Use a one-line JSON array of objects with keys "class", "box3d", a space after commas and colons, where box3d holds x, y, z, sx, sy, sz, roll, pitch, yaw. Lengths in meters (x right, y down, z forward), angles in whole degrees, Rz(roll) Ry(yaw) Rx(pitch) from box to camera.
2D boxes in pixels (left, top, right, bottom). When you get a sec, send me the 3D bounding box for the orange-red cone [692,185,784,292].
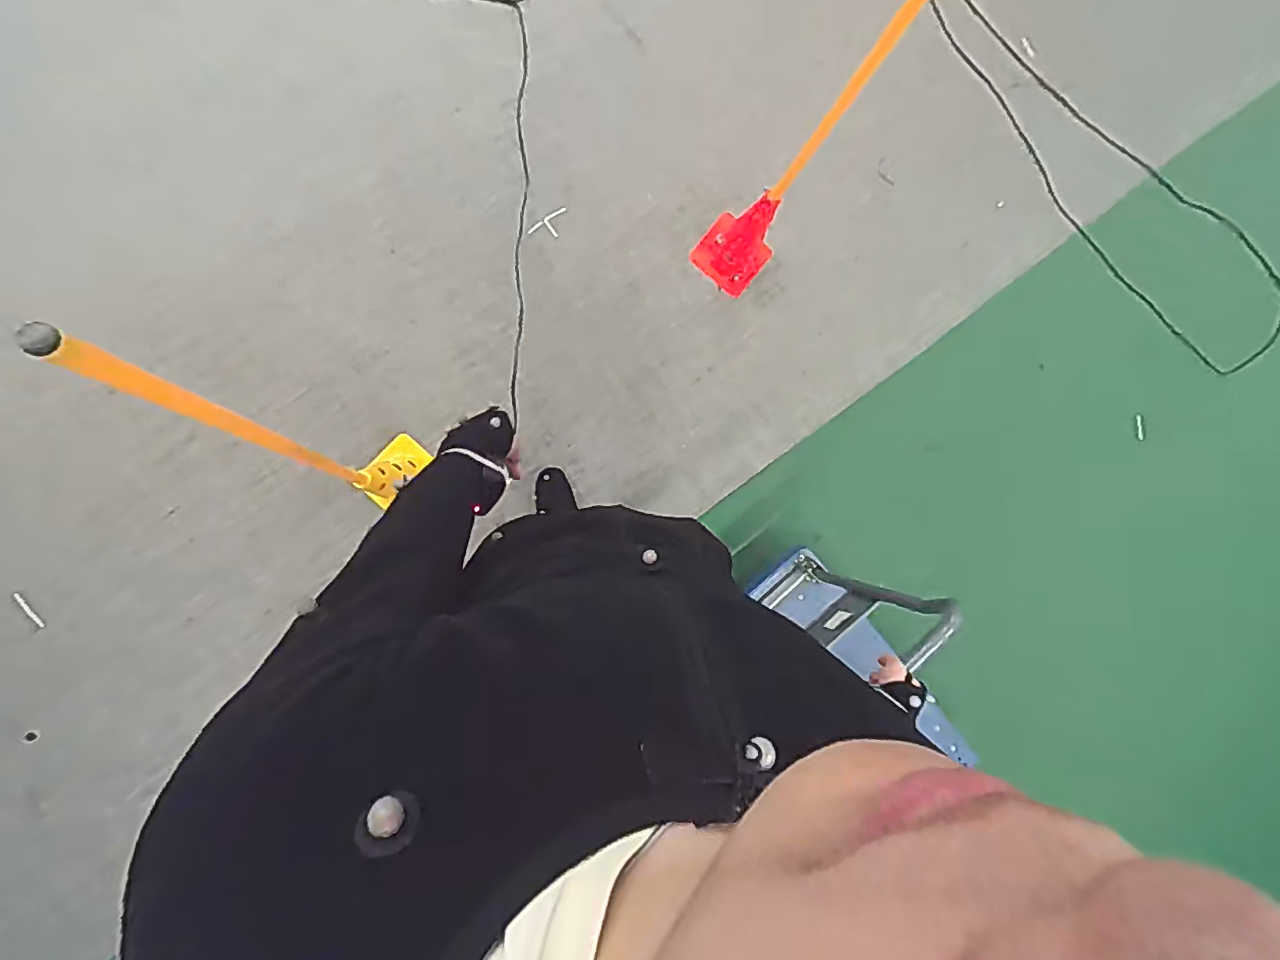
[{"class": "orange-red cone", "box3d": [0.308, -0.704, 1.493, 0.198, 0.360, 0.199, 40, 84, -7]}]
